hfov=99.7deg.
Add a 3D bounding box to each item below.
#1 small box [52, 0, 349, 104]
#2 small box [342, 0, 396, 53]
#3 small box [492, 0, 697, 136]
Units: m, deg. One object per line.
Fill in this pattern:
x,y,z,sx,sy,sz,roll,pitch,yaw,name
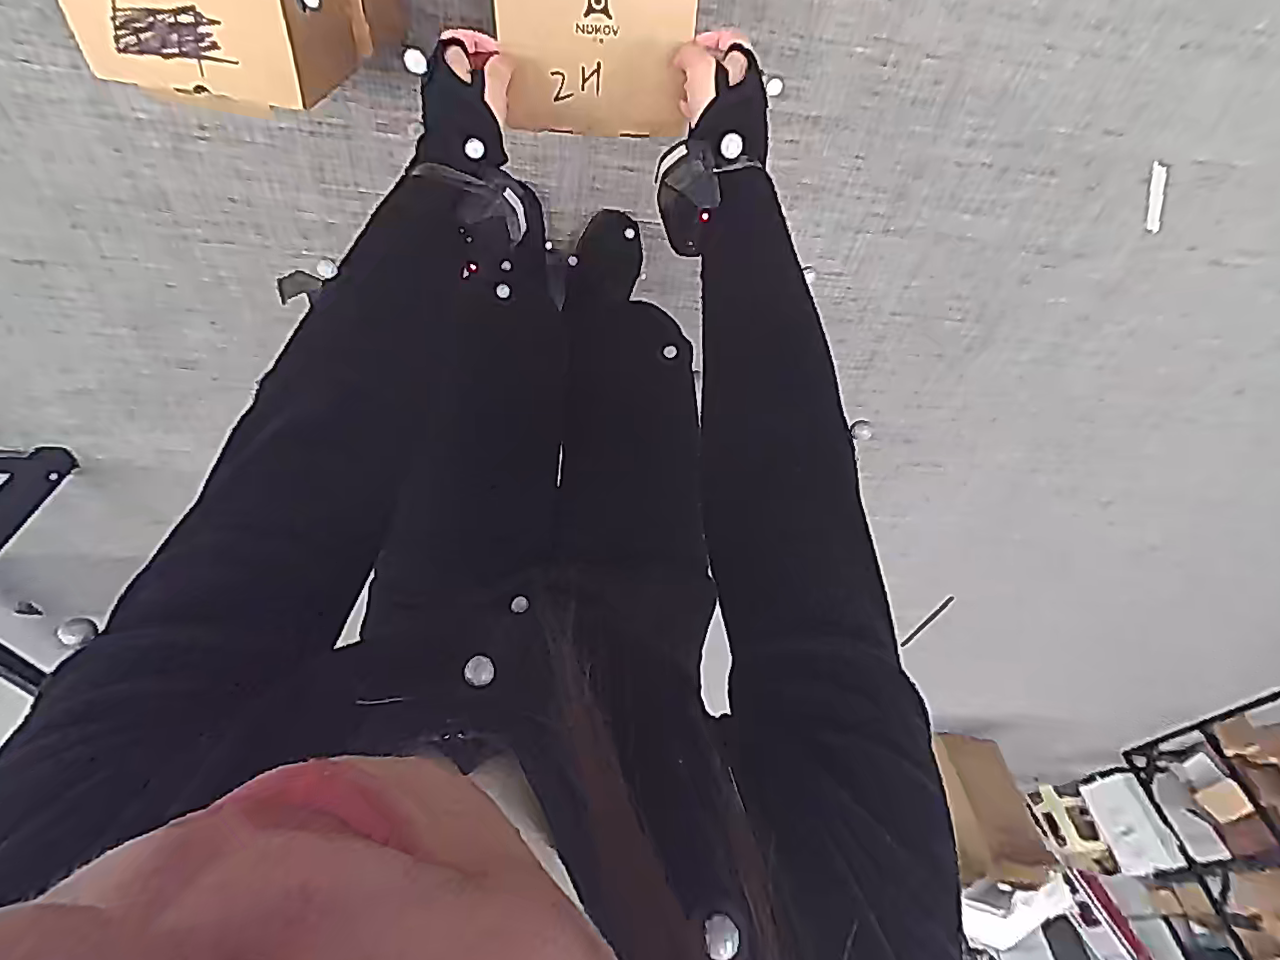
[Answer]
-0.365,-0.449,0.449,0.168,0.176,0.179,3,136,-10,small box
-0.366,-0.572,0.557,0.179,0.176,0.168,2,138,-8,small box
-0.040,-0.436,0.485,0.168,0.176,0.179,1,136,-5,small box
